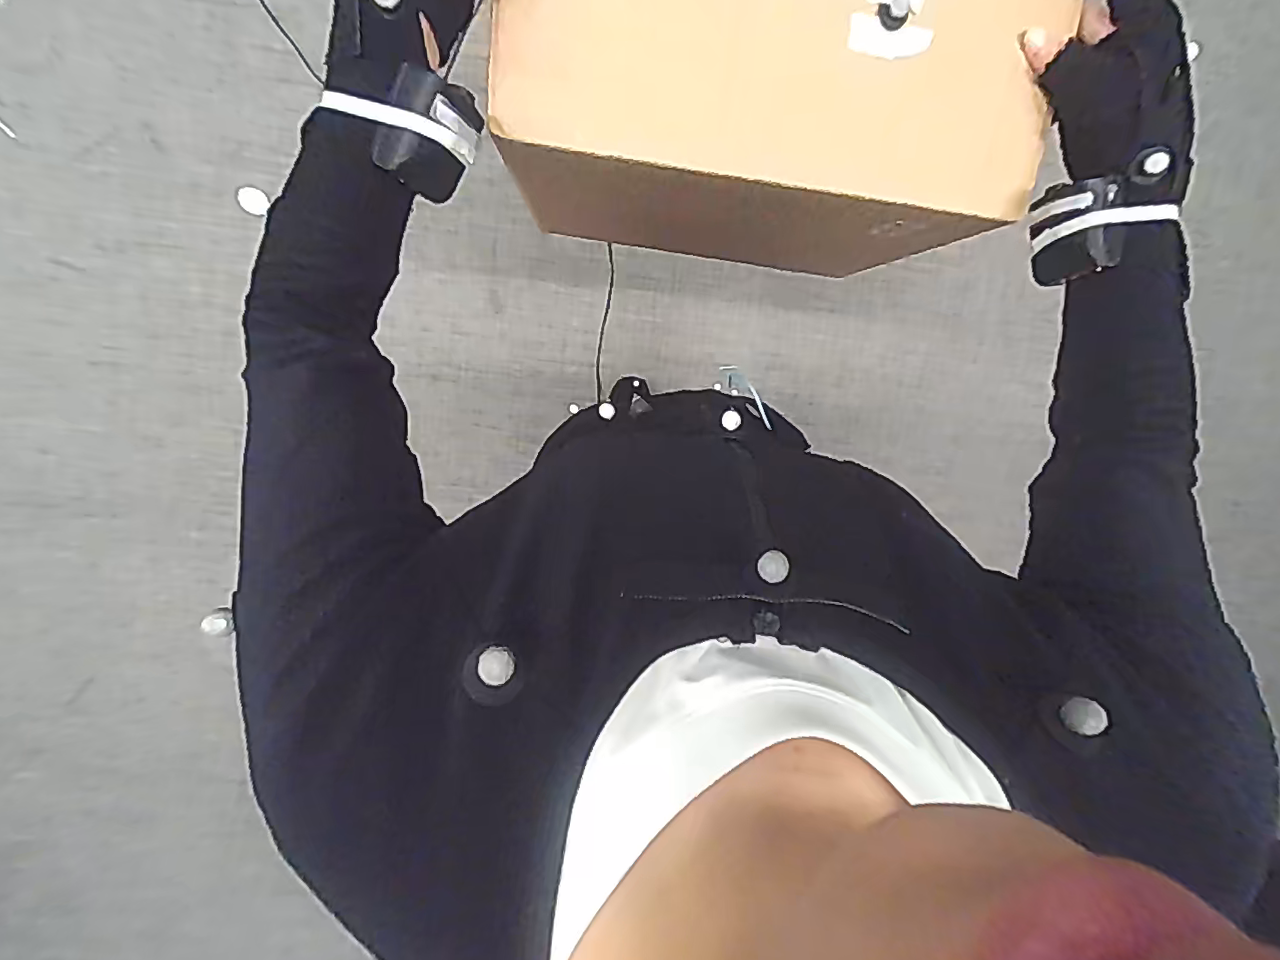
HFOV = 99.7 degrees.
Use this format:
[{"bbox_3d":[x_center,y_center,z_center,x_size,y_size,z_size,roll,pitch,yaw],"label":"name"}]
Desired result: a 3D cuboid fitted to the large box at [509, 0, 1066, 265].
[{"bbox_3d":[0.101,-0.412,0.517,0.408,0.320,0.320,5,103,-7],"label":"large box"}]
